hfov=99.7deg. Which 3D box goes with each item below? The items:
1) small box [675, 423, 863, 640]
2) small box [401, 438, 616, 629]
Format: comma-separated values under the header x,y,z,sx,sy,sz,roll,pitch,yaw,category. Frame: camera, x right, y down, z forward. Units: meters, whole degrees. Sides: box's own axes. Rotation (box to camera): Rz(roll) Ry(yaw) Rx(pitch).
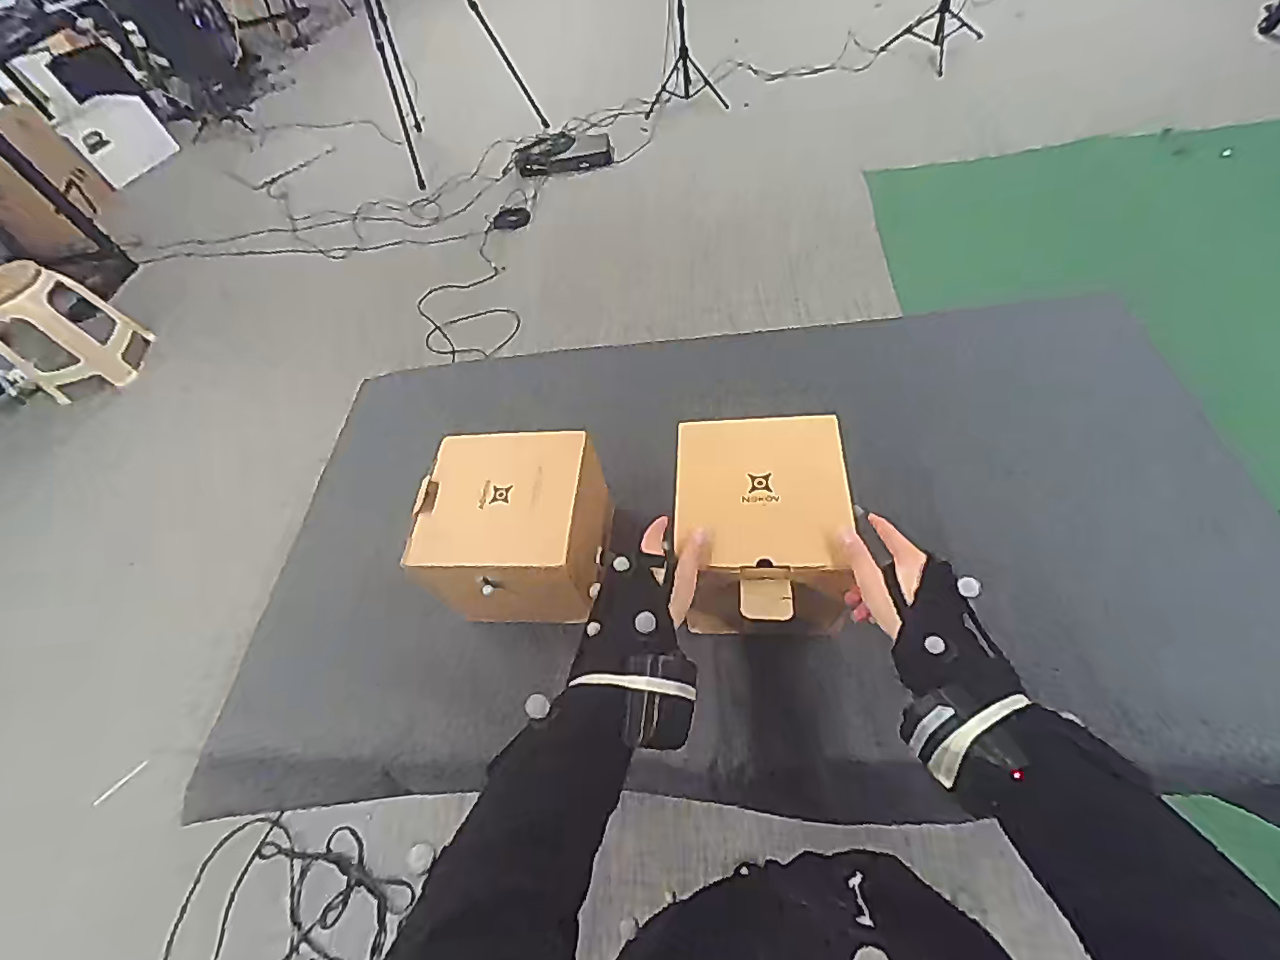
x,y,z,sx,sy,sz,roll,pitch,yaw,category
0.130,0.059,0.588,0.168,0.176,0.179,-2,55,10,small box
-0.136,0.067,0.634,0.179,0.176,0.168,-1,56,10,small box
